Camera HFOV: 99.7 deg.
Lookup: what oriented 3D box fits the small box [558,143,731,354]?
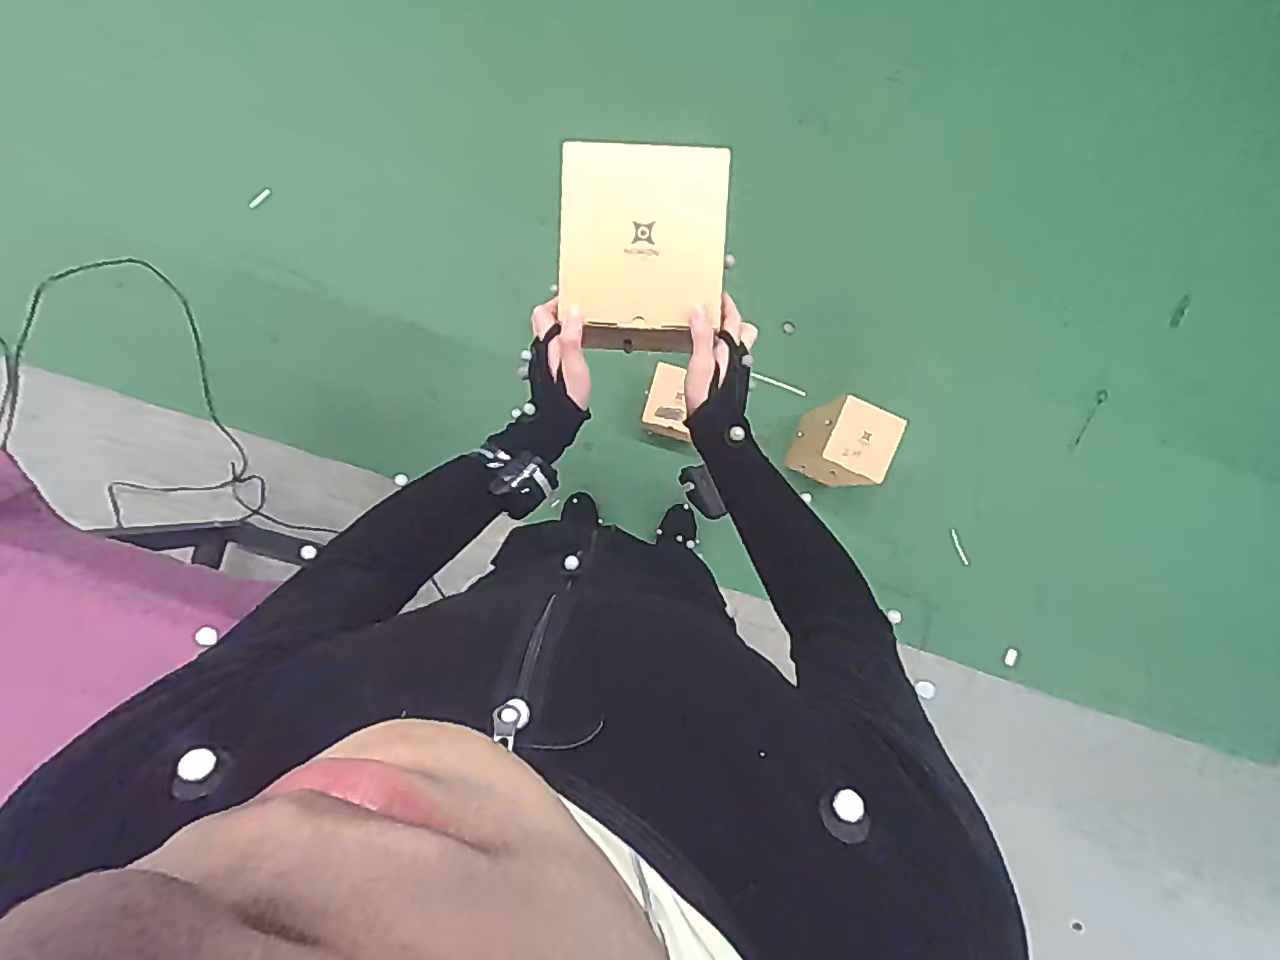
[{"bbox_3d":[0.001,-0.245,0.614,0.168,0.176,0.179,2,97,-1],"label":"small box"}]

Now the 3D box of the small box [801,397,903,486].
[{"bbox_3d":[0.549,-0.094,1.426,0.168,0.176,0.179,25,88,-1],"label":"small box"}]

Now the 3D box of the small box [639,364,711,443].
[{"bbox_3d":[0.098,-0.214,1.579,0.168,0.176,0.179,16,87,-1],"label":"small box"}]
